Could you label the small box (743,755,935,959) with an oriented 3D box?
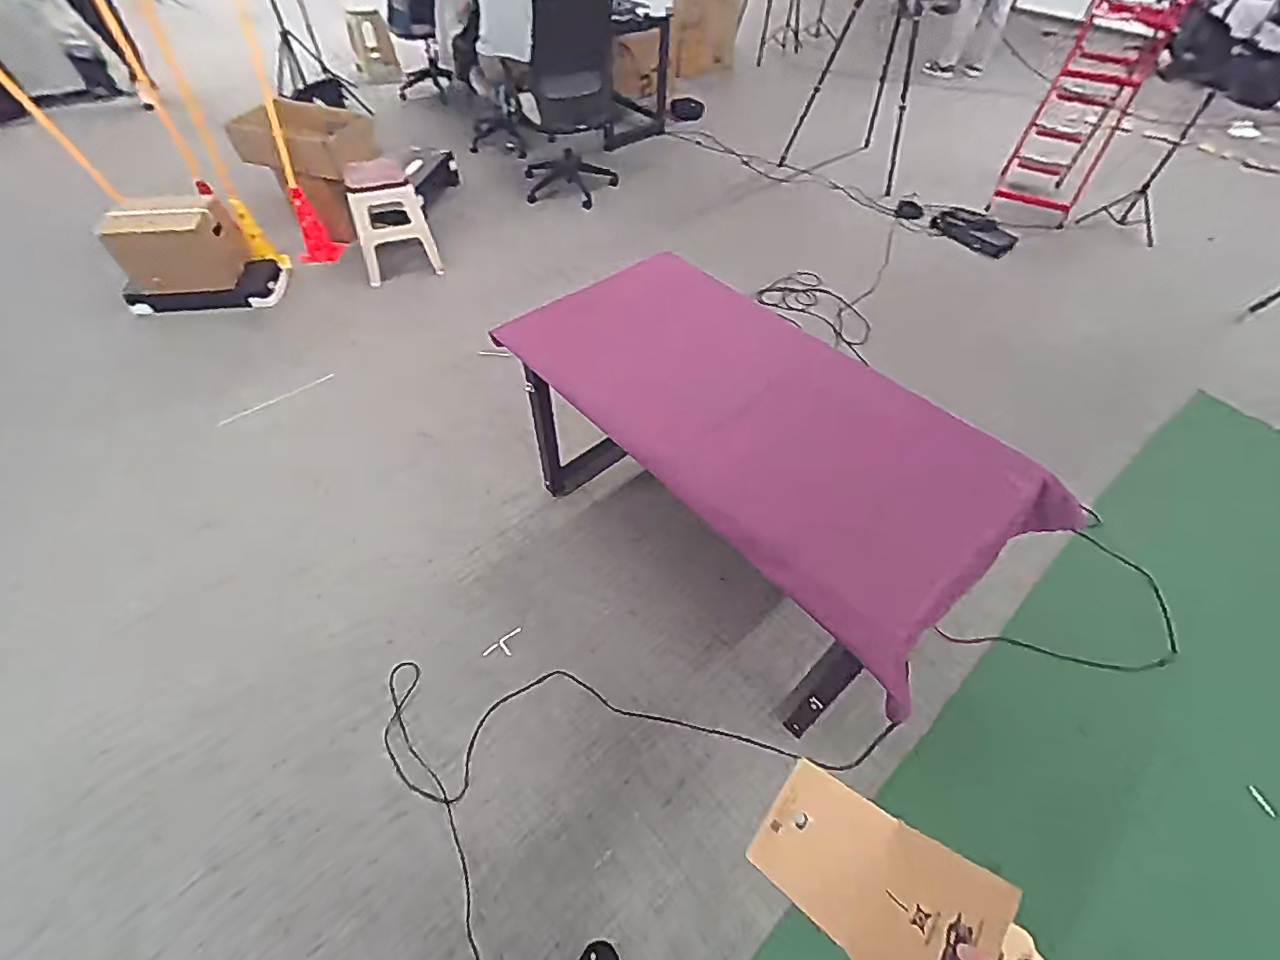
[{"bbox_3d":[0.283,0.534,0.777,0.168,0.179,0.176,-51,31,-18],"label":"small box"}]
